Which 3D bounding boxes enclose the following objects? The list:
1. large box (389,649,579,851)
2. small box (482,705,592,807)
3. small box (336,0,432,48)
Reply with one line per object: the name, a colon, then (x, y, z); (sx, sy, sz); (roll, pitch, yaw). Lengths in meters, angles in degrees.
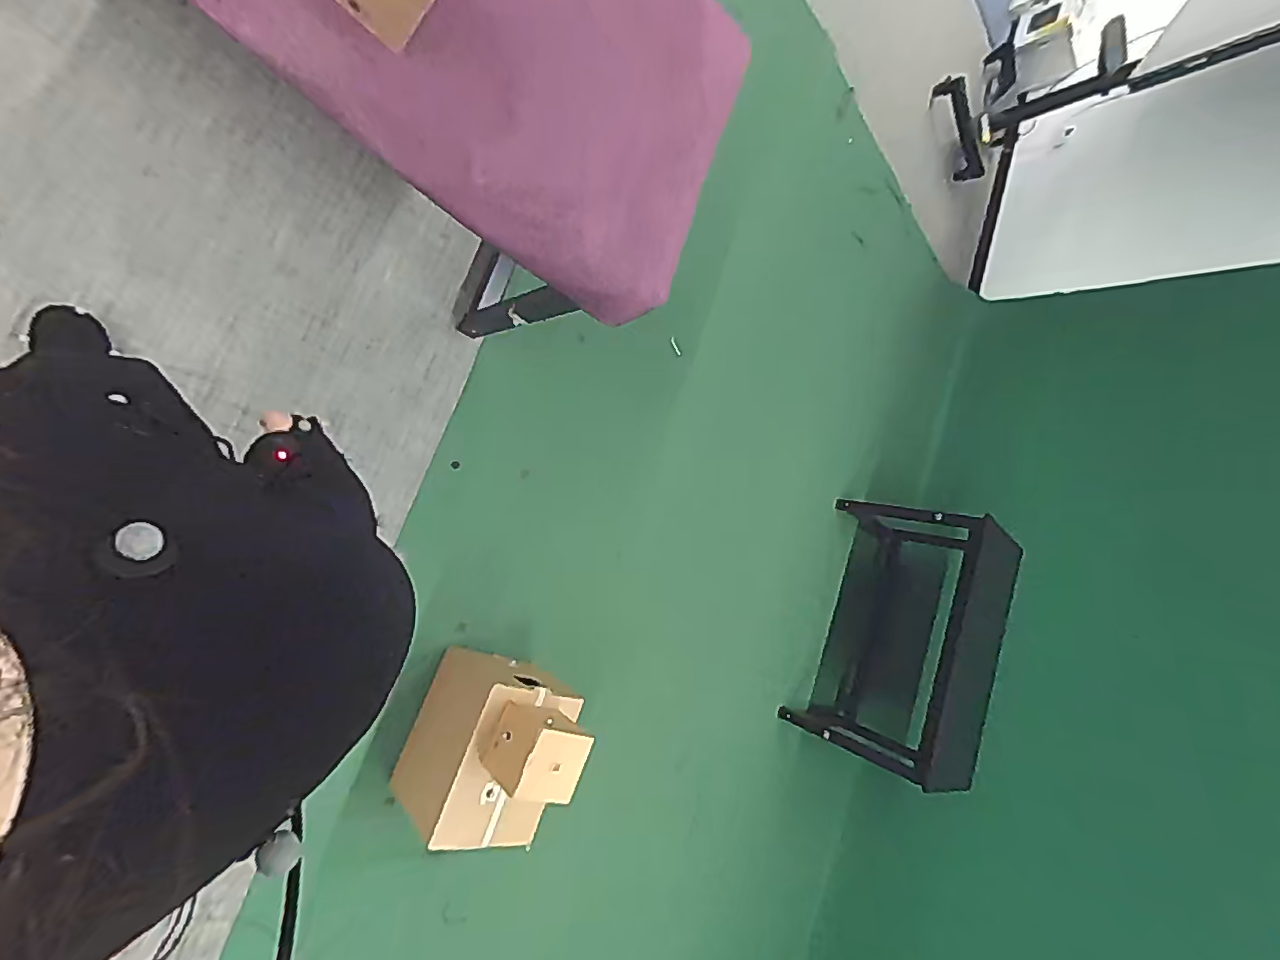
large box: (-0.437, 0.738, 1.522); (0.320, 0.320, 0.408); (30, 76, -39)
small box: (-0.258, 0.682, 1.347); (0.179, 0.176, 0.168); (32, 75, -38)
small box: (-0.288, -0.653, 0.605); (0.168, 0.176, 0.179); (30, 76, -39)
